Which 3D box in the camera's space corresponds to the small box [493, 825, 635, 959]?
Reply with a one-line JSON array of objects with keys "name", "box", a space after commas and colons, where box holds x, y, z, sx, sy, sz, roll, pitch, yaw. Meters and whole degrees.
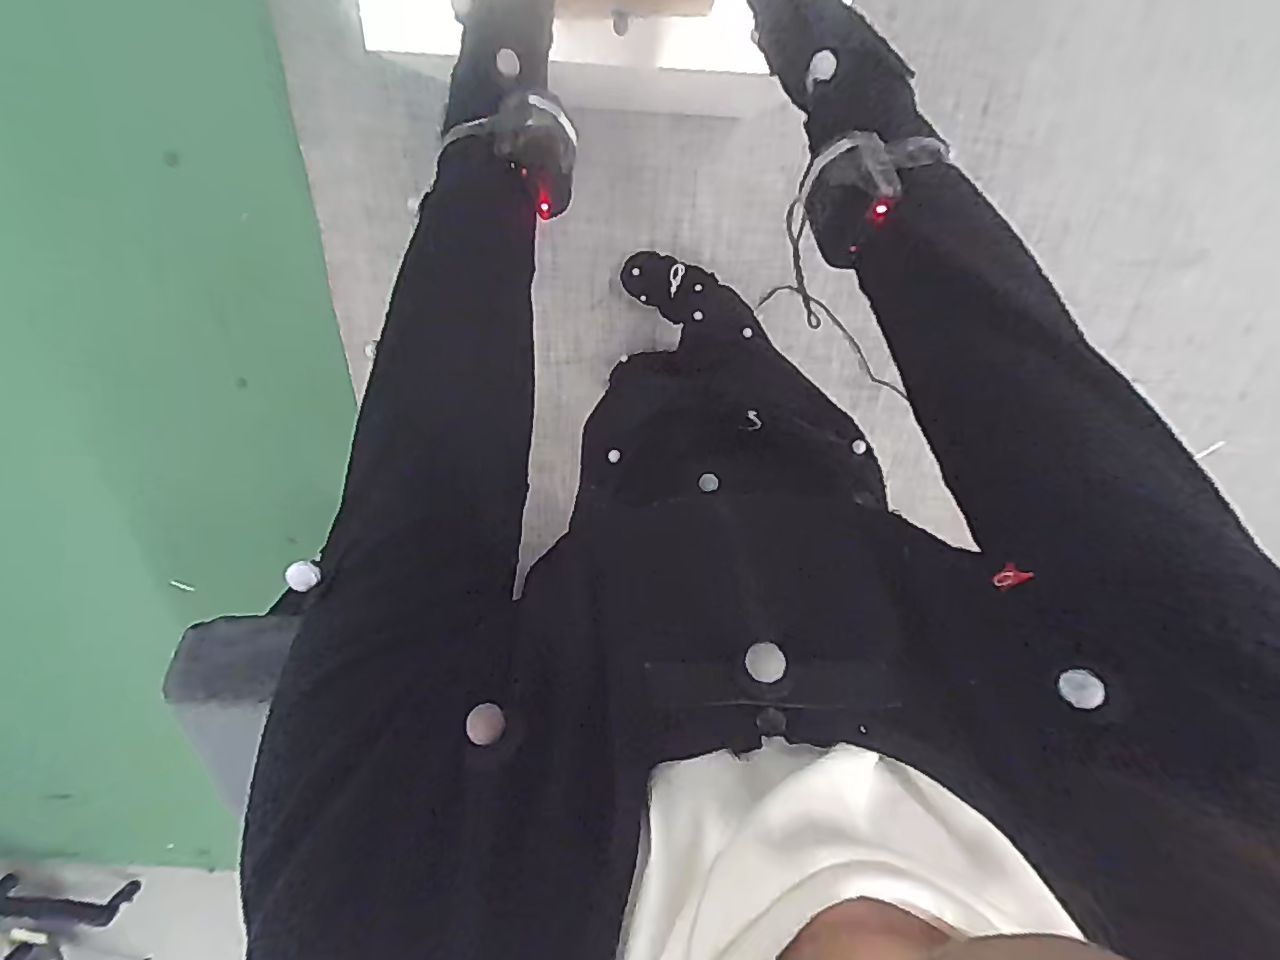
[{"name": "small box", "box": [-0.098, 0.617, 0.754, 0.168, 0.176, 0.179, 5, 123, 0]}]

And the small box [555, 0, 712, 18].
[{"name": "small box", "box": [-0.012, -0.513, 0.443, 0.168, 0.176, 0.179, 0, 121, 4]}]
